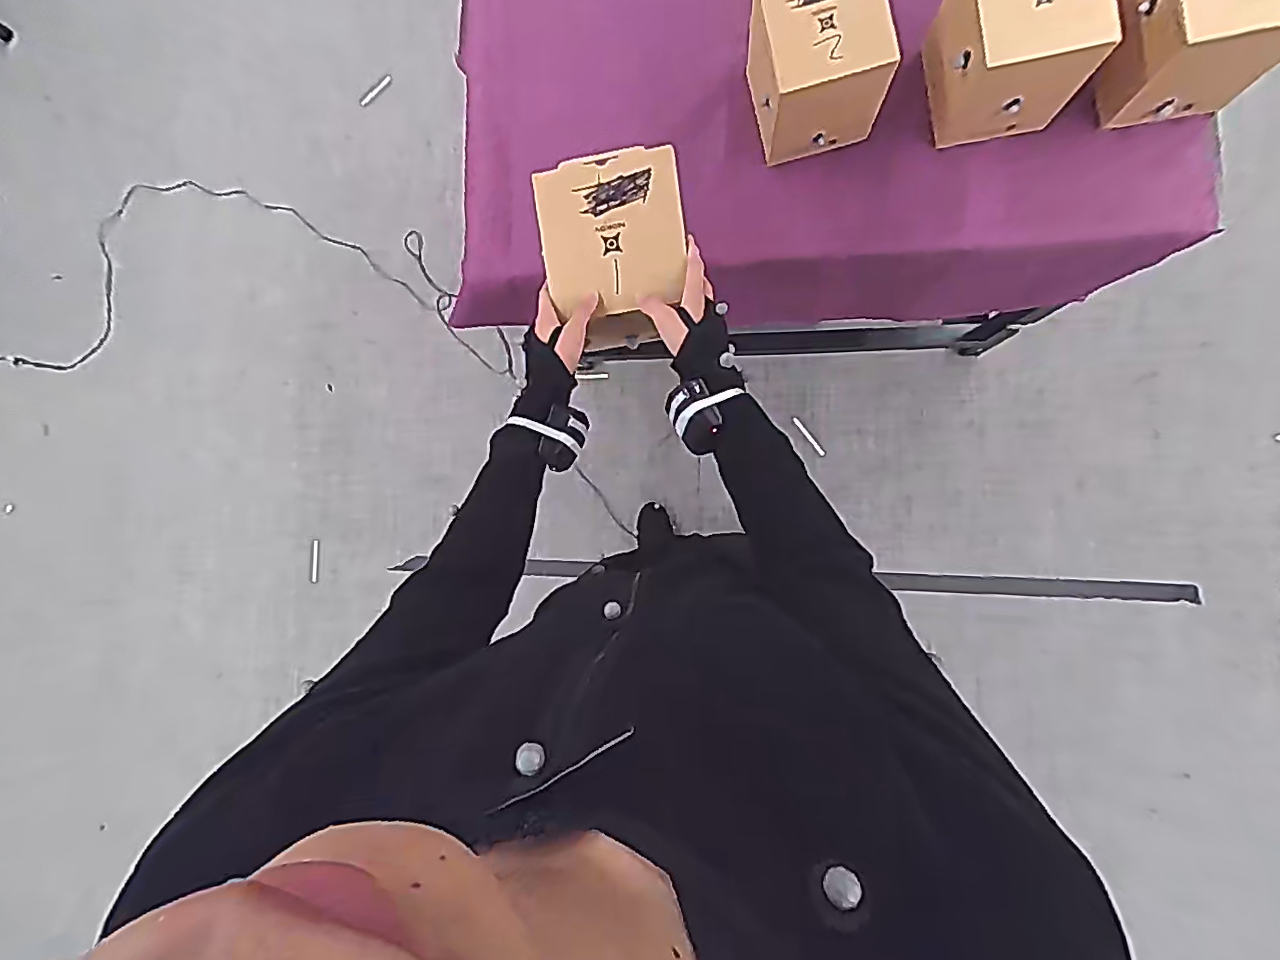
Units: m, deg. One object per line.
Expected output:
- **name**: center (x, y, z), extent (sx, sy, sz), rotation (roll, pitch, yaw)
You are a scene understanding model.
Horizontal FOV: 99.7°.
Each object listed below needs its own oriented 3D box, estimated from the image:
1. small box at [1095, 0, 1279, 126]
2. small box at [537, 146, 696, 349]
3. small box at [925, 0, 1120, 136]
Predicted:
- **small box**: center (0.778, -0.644, 0.756), extent (0.168, 0.176, 0.179), rotation (-5, 86, 10)
- **small box**: center (-0.020, -0.280, 0.691), extent (0.168, 0.176, 0.179), rotation (-8, 92, 8)
- **small box**: center (0.541, -0.638, 0.789), extent (0.168, 0.176, 0.179), rotation (-6, 86, 7)
